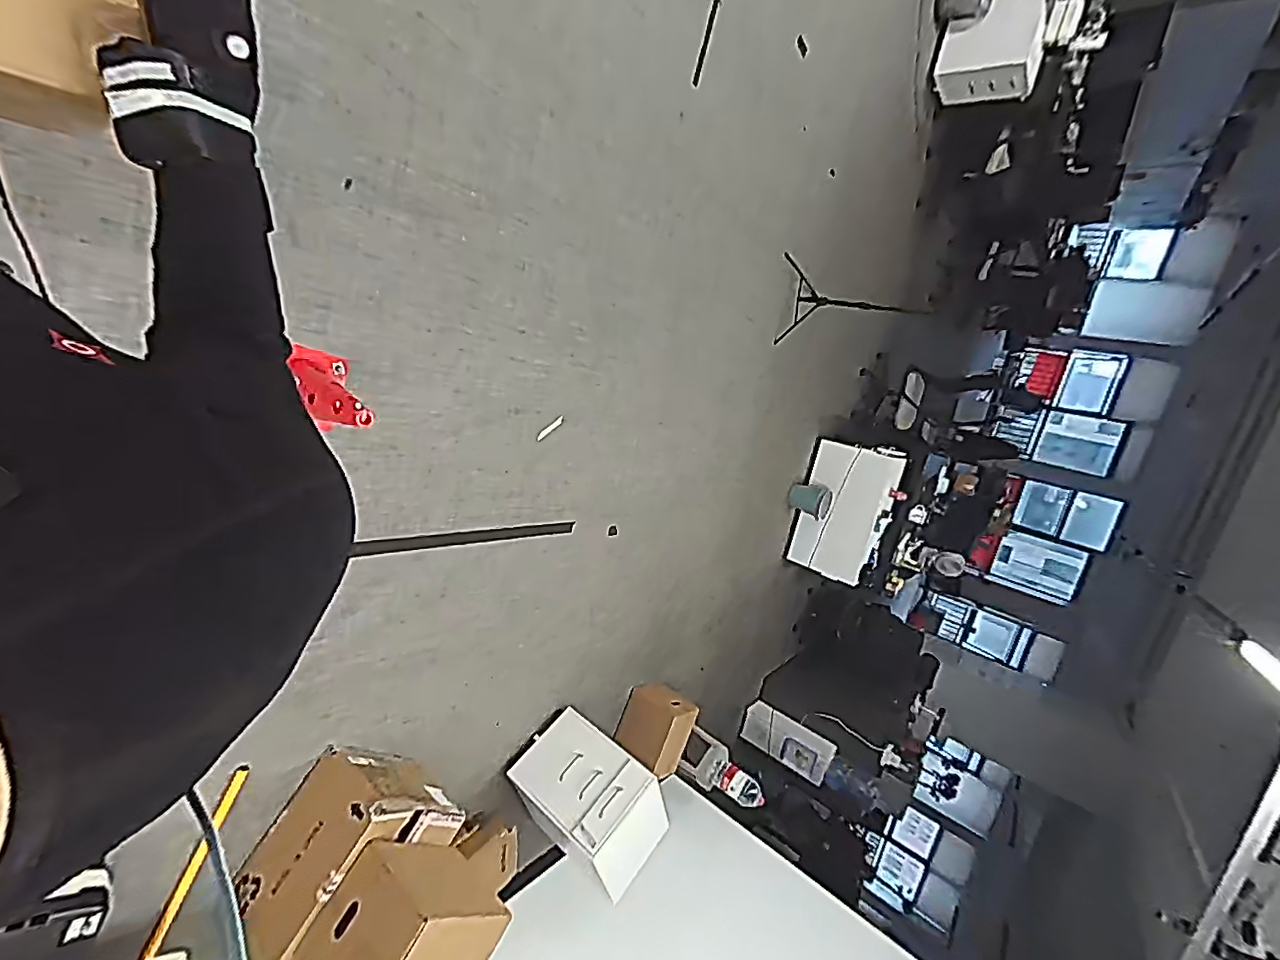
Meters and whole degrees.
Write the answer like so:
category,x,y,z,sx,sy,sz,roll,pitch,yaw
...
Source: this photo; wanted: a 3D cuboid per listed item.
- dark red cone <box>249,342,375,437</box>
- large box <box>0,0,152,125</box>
category,x,y,z,sx,sy,sz,roll,pitch,yaw
dark red cone,-0.705,-0.168,1.224,0.201,0.394,0.202,10,99,-53
large box,-0.563,-0.426,0.268,0.408,0.320,0.320,-13,119,-52
